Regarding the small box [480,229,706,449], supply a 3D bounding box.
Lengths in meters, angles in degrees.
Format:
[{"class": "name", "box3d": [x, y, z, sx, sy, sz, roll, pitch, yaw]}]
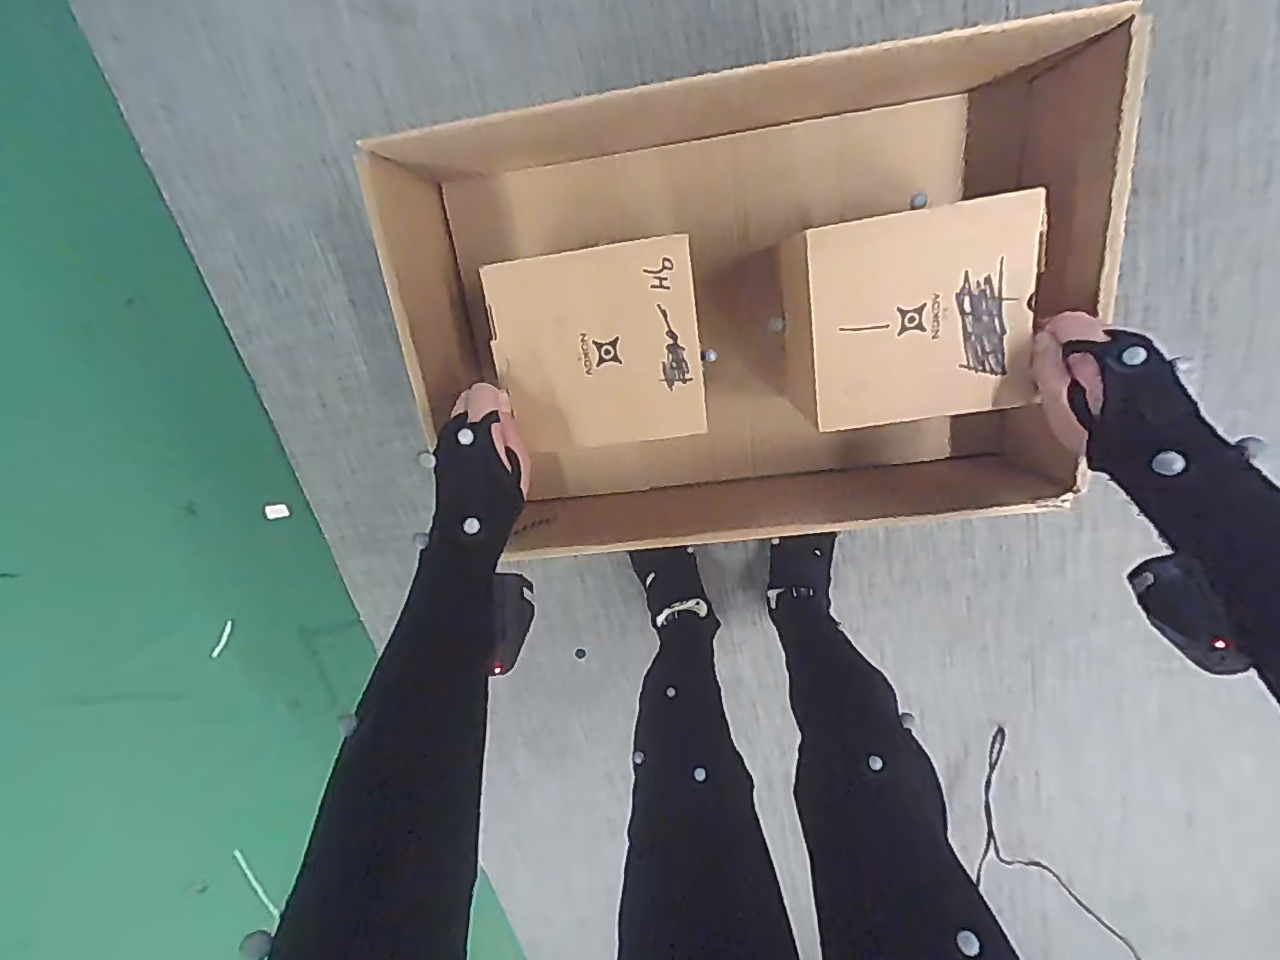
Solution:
[{"class": "small box", "box3d": [-0.029, -0.135, 0.527, 0.179, 0.176, 0.168, -6, 108, 7]}]
